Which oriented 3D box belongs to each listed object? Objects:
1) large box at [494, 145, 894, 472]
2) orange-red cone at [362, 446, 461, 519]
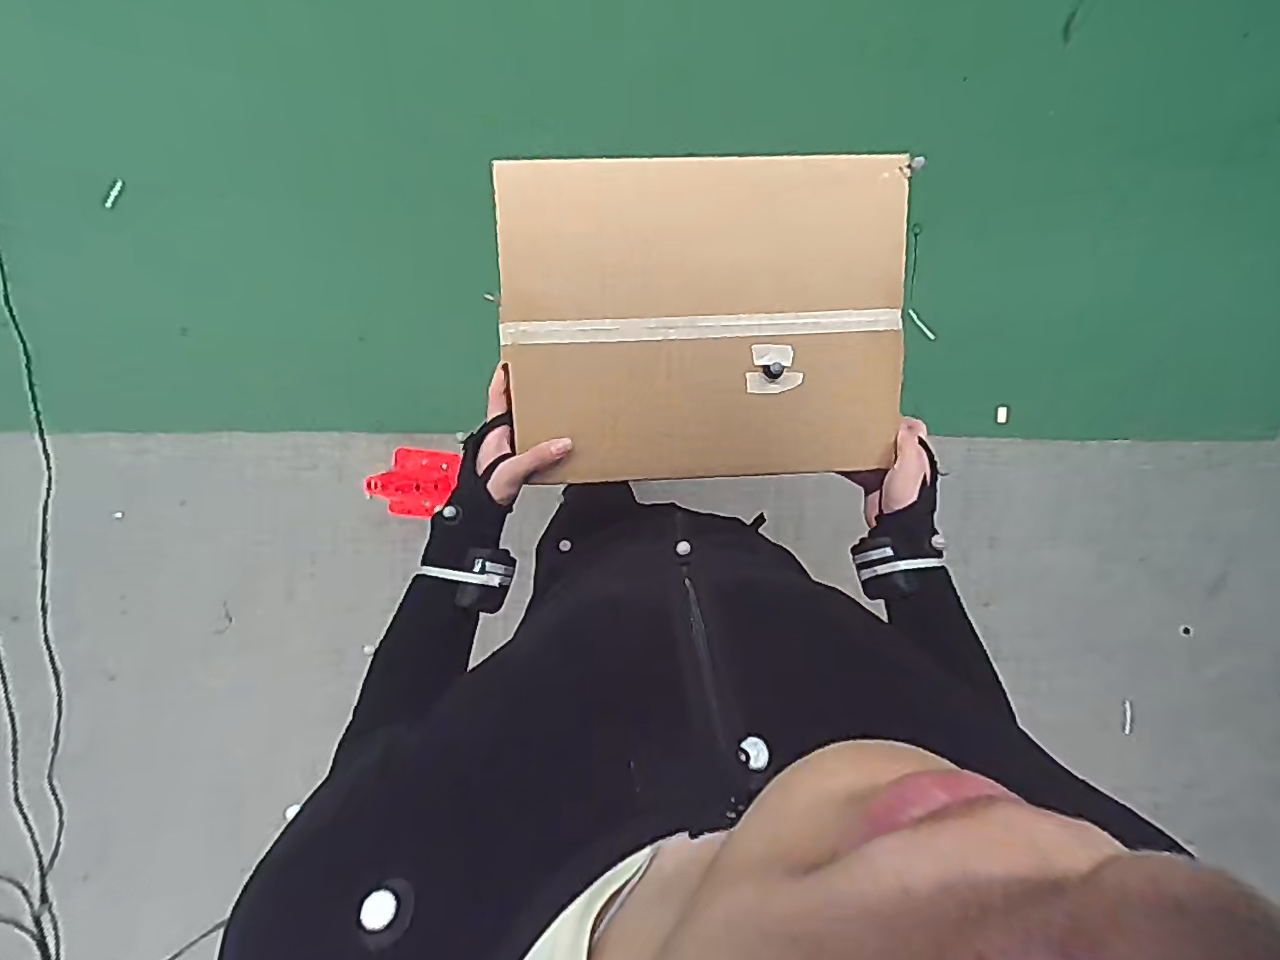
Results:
[{"bbox_3d":[0.053,-0.197,0.700,0.408,0.320,0.320,-3,101,-3],"label":"large box"},{"bbox_3d":[-0.627,0.006,1.410,0.199,0.360,0.198,7,89,-1],"label":"orange-red cone"}]
